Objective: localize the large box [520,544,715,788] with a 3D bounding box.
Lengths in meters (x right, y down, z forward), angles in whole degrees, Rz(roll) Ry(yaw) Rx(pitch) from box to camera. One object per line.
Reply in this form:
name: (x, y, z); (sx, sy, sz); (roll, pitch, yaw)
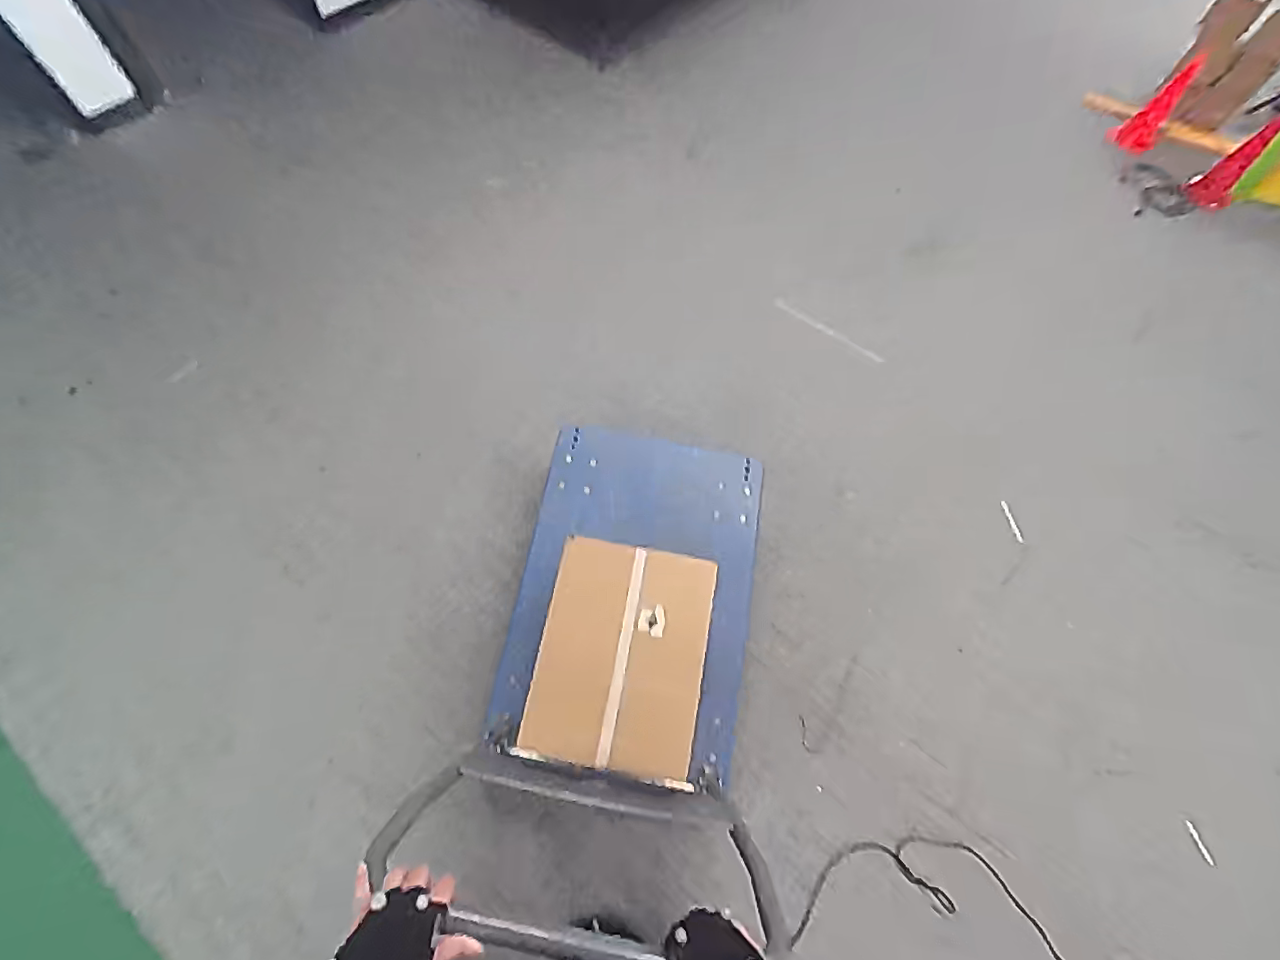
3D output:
large box: (-0.033, 0.391, 1.164); (0.320, 0.320, 0.408); (11, 69, 3)
